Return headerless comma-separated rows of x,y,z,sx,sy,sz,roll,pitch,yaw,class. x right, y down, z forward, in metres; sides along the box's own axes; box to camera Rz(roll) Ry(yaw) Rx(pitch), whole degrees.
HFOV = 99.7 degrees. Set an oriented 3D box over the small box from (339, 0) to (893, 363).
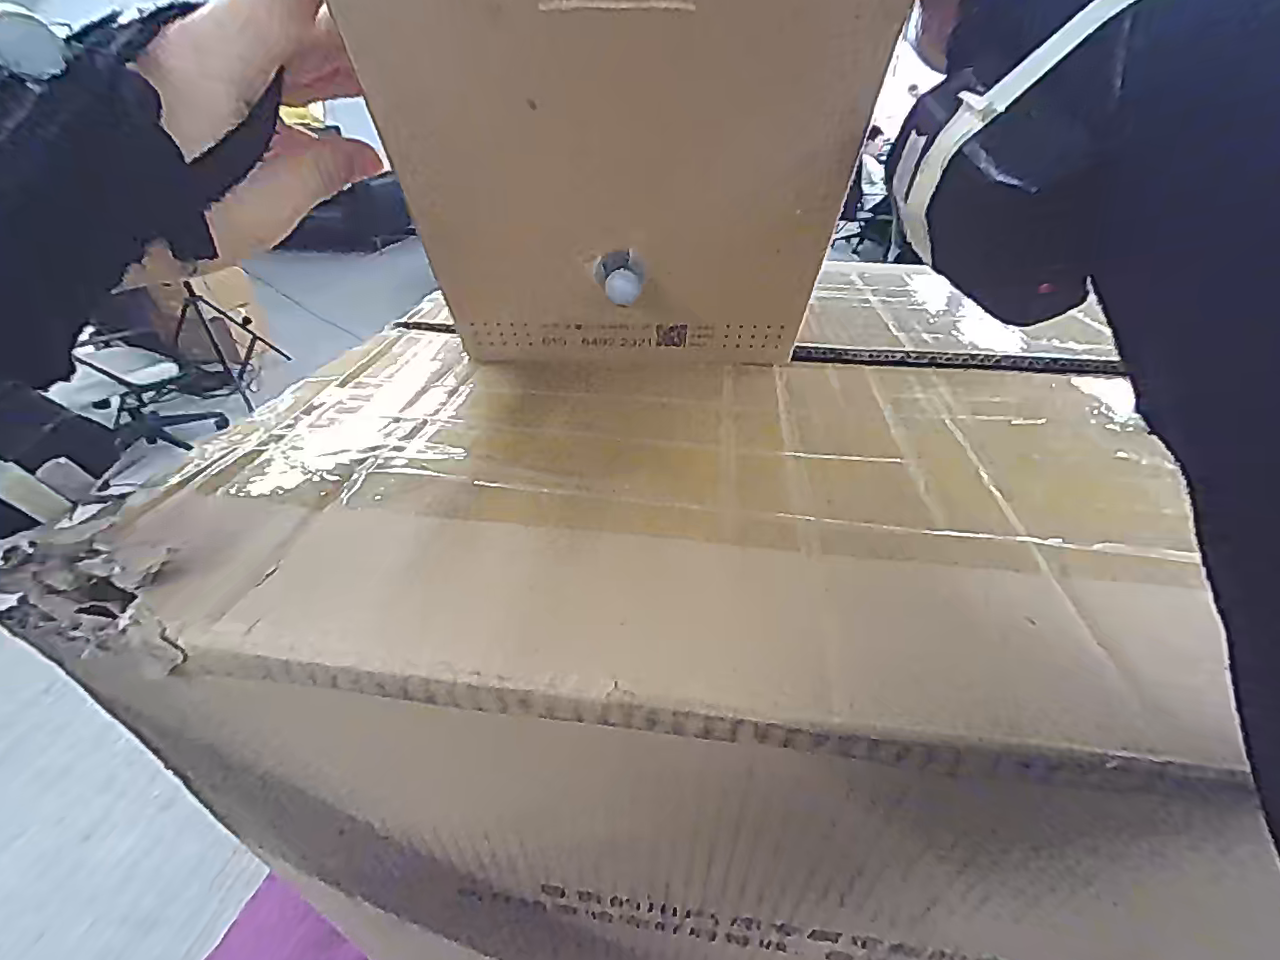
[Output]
-0.010,-0.176,0.242,0.168,0.176,0.179,0,58,1,small box
